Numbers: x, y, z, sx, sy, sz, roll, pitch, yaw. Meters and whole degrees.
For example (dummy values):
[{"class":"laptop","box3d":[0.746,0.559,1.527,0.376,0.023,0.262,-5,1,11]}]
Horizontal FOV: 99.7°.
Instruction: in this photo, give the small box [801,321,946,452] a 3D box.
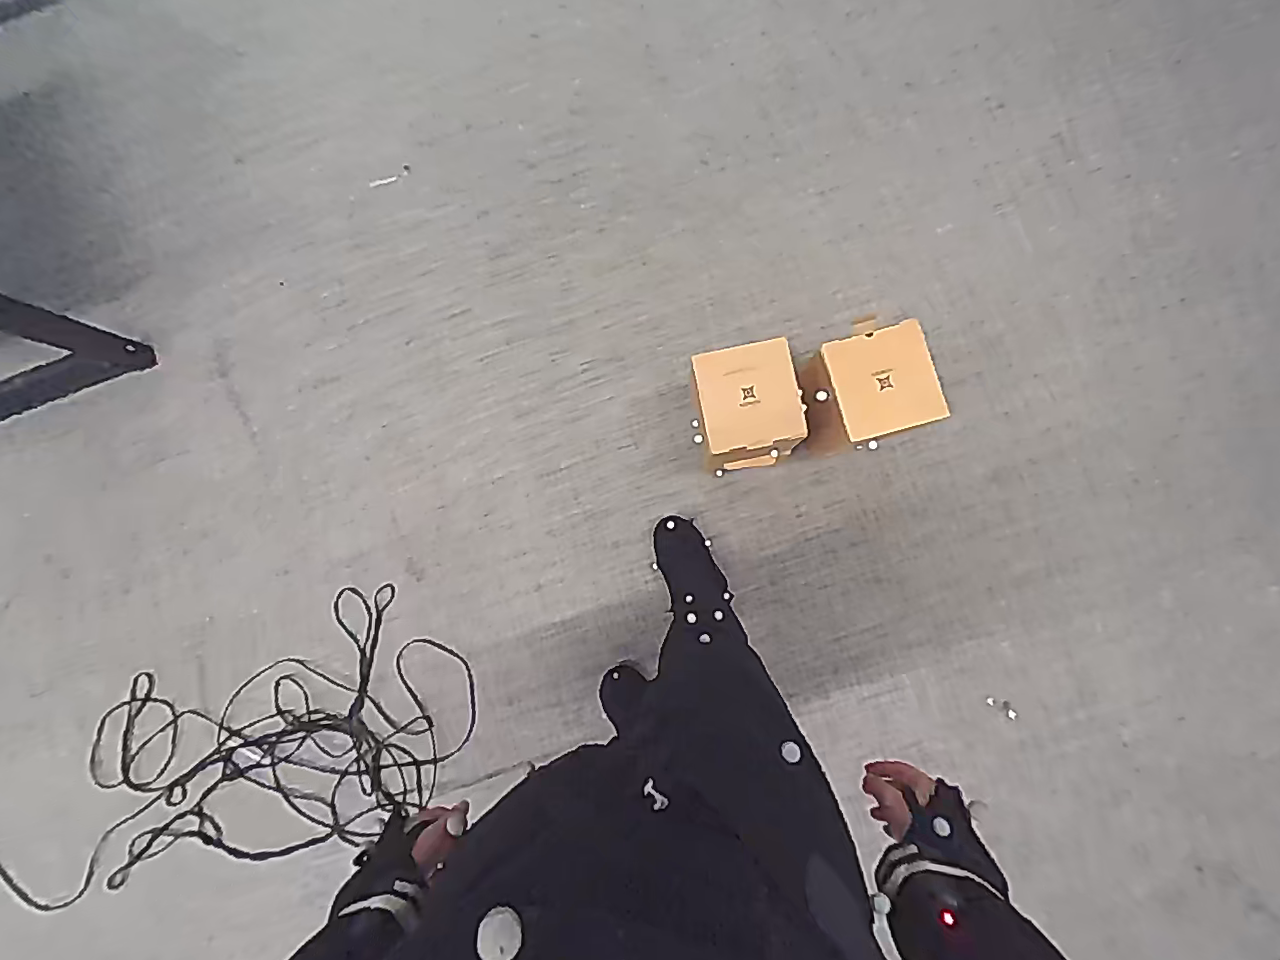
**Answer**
[{"class":"small box","box3d":[0.404,-0.154,0.967,0.168,0.176,0.179,-15,83,3]}]

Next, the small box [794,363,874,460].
[{"class":"small box","box3d":[0.423,-0.155,1.130,0.168,0.176,0.179,-15,83,2]}]

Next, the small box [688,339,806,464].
[{"class":"small box","box3d":[0.185,-0.130,0.981,0.168,0.176,0.179,-12,82,2]}]
